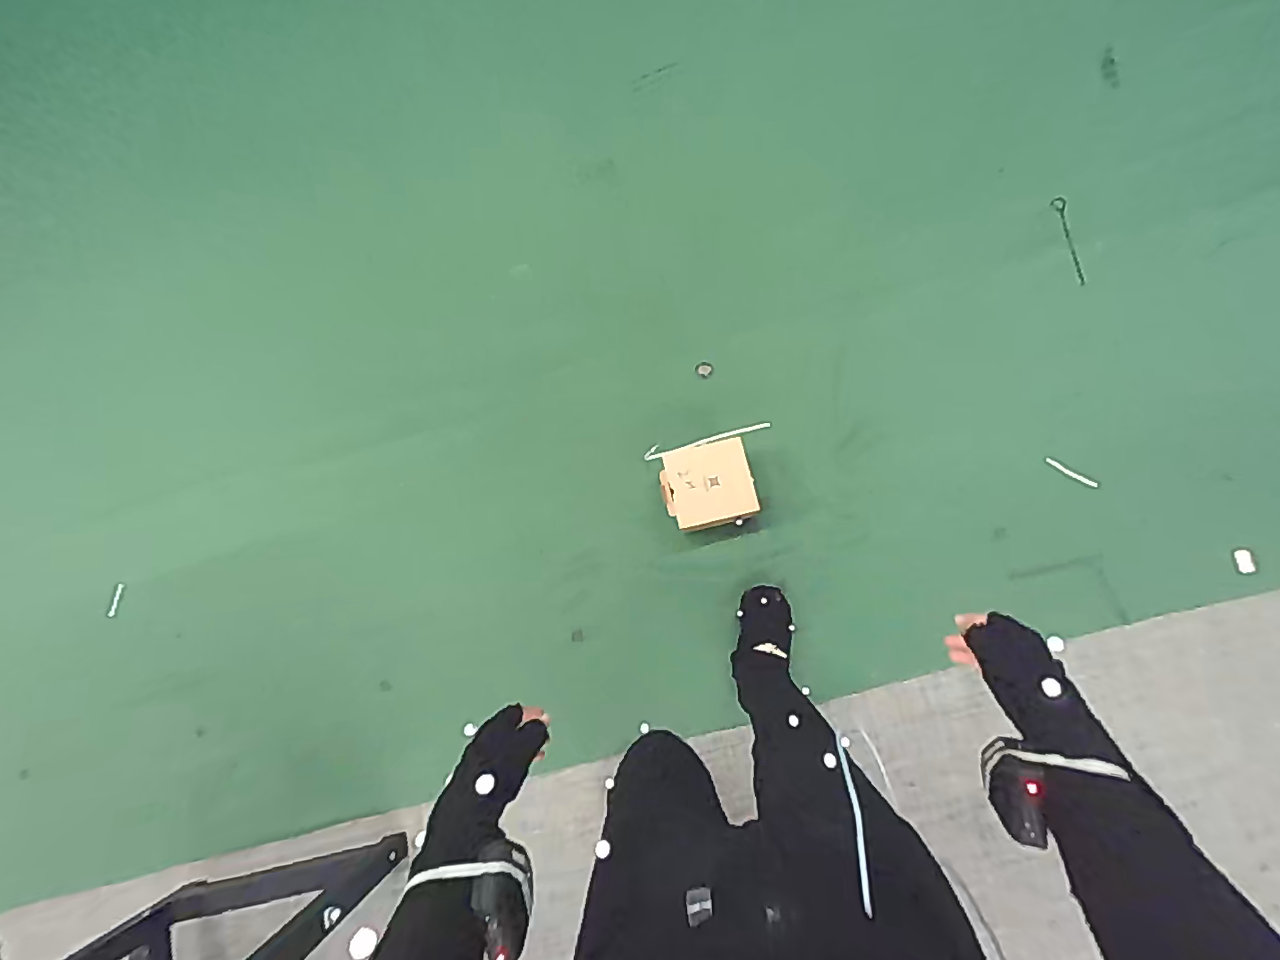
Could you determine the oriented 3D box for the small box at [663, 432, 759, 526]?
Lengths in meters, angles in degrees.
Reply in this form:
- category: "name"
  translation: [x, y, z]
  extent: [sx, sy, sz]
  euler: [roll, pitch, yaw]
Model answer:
- category: "small box"
  translation: [0.156, 0.004, 1.221]
  extent: [0.179, 0.176, 0.168]
  euler: [-14, 81, 4]
